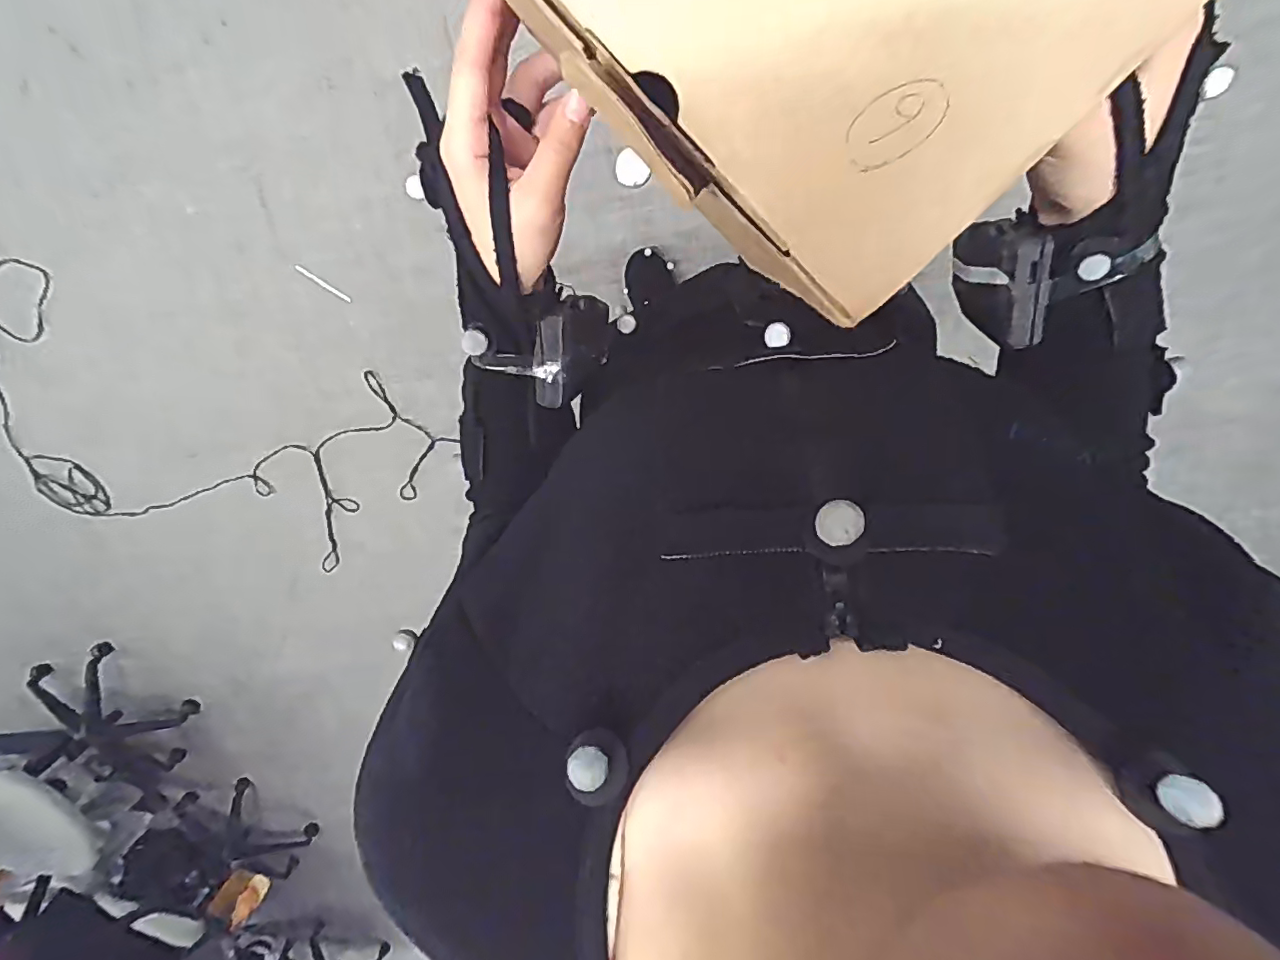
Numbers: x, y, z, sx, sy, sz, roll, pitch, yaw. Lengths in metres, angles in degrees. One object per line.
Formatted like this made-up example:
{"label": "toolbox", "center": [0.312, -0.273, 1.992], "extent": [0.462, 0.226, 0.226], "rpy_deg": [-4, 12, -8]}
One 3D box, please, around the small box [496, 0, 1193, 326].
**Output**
{"label": "small box", "center": [0.063, -0.189, 0.194], "extent": [0.168, 0.176, 0.179], "rpy_deg": [39, 112, -16]}
